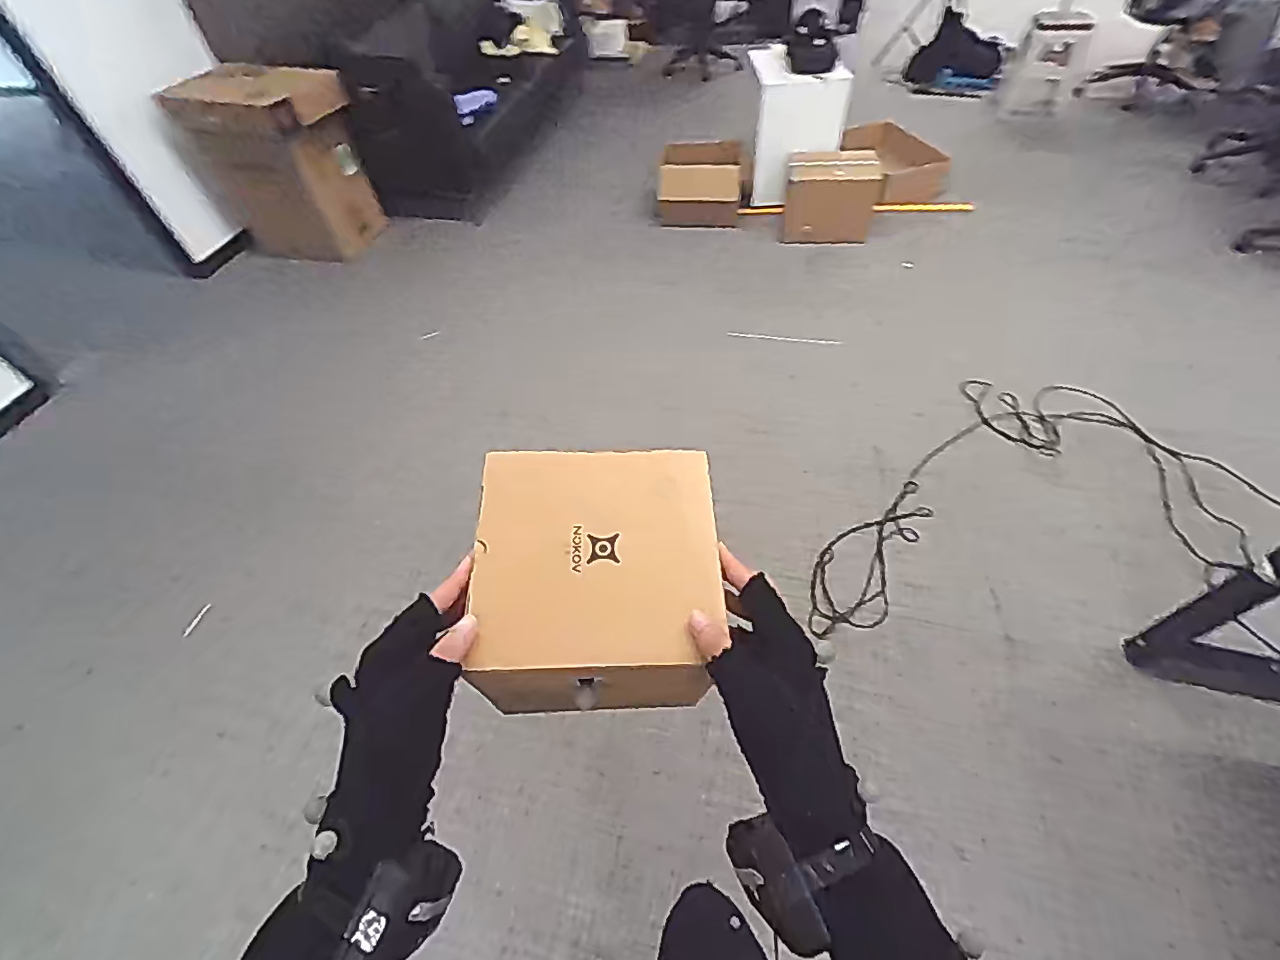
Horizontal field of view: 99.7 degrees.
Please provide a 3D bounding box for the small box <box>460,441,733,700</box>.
[{"bbox_3d":[-0.031,0.082,0.451,0.179,0.176,0.168,-1,59,-2],"label":"small box"}]
